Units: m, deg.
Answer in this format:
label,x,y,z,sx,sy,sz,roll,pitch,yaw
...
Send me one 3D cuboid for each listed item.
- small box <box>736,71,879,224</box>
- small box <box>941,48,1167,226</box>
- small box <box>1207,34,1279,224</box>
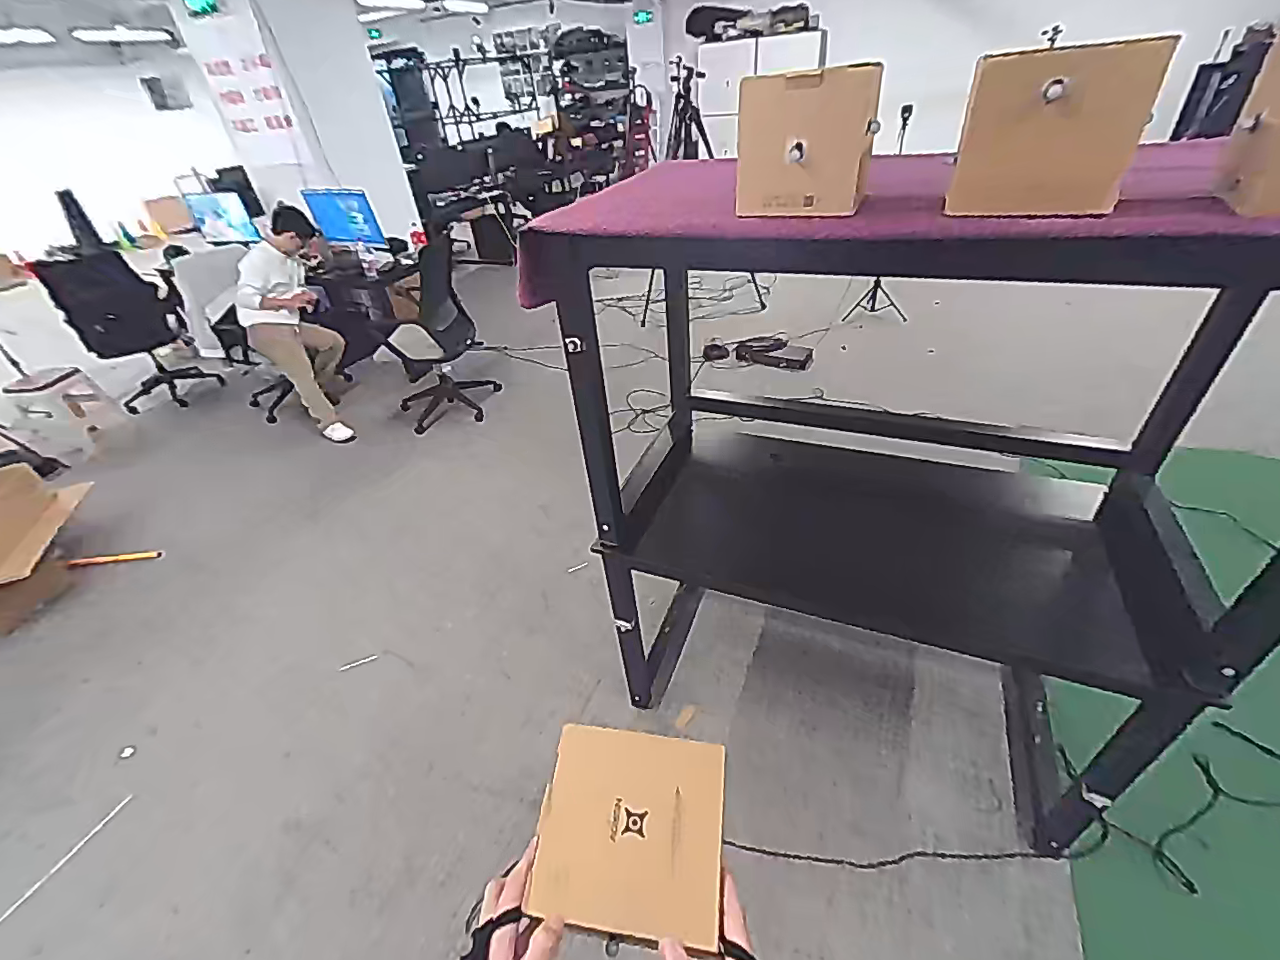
label,x,y,z,sx,sy,sz,roll,pitch,yaw
small box,0.243,-0.481,0.791,0.168,0.176,0.179,11,39,21
small box,0.500,-0.430,0.686,0.179,0.176,0.168,10,38,23
small box,0.759,-0.378,0.572,0.179,0.176,0.168,13,42,25
